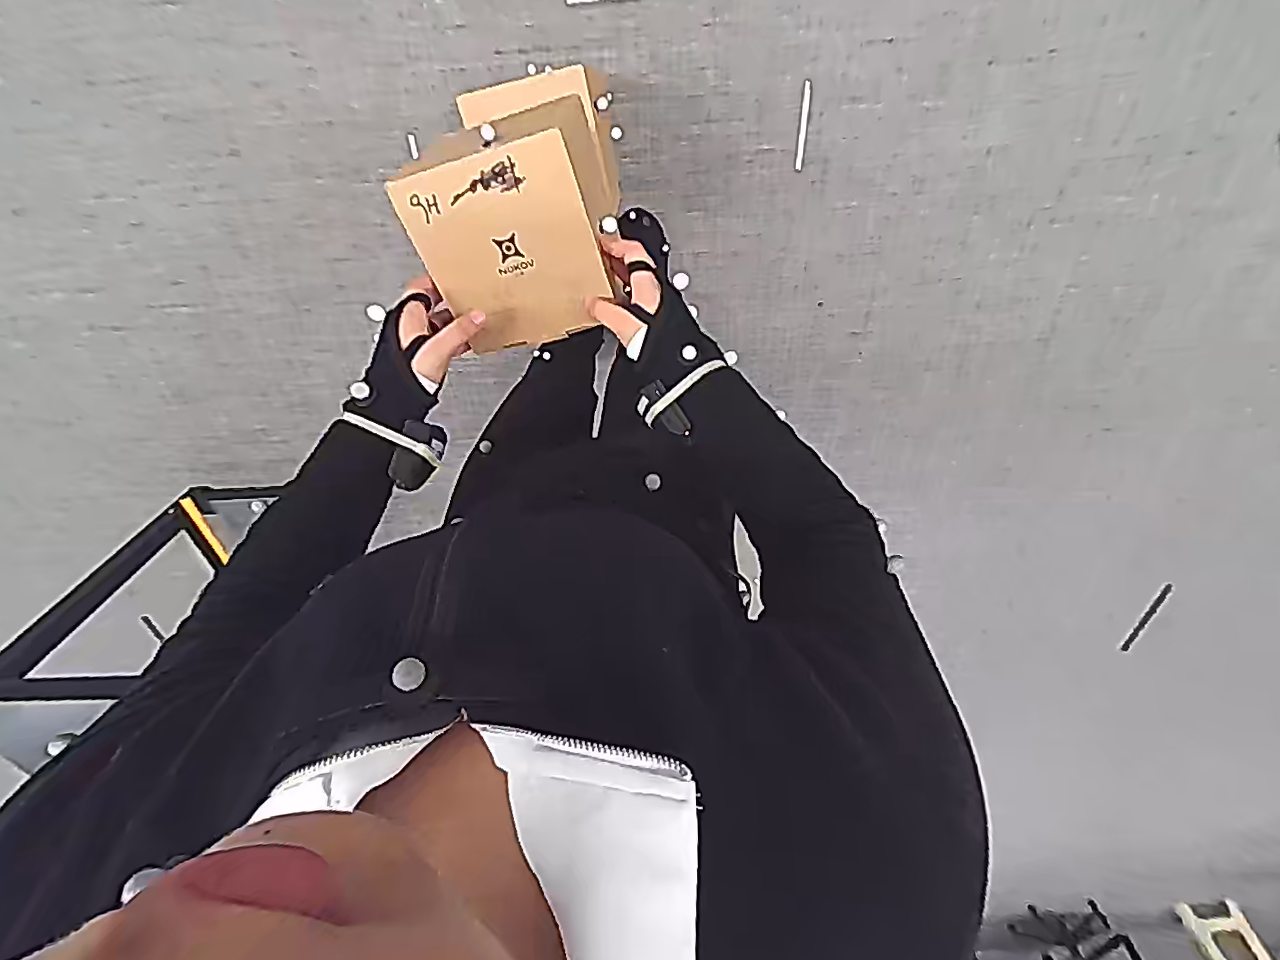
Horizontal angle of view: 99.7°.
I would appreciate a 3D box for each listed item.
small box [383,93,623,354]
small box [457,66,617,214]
[{"bbox_3d":[-0.119,-0.262,0.560,0.168,0.176,0.179,-10,133,12],"label":"small box"},{"bbox_3d":[-0.131,-0.459,0.767,0.168,0.176,0.179,-8,126,8],"label":"small box"}]
